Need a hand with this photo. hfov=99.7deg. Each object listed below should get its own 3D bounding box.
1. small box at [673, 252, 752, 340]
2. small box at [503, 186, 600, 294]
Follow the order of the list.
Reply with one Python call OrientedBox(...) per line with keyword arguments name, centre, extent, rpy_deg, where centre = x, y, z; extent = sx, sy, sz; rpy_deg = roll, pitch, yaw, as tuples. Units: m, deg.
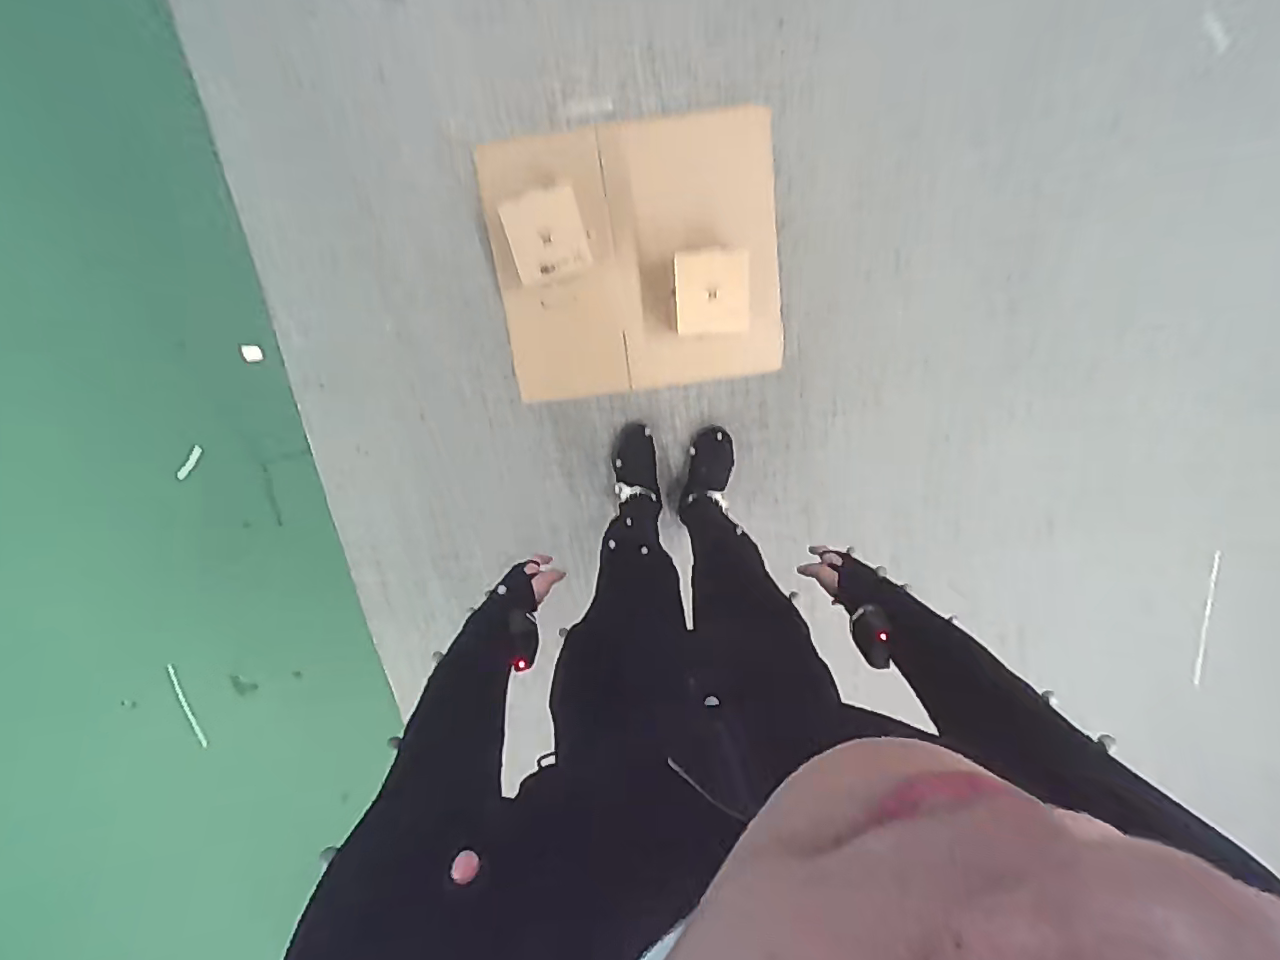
OrientedBox(name="small box", centre=(0.166, -0.426, 1.268), extent=(0.168, 0.176, 0.179), rpy_deg=(-4, 105, 1))
OrientedBox(name="small box", centre=(-0.194, -0.538, 1.237), extent=(0.168, 0.176, 0.179), rpy_deg=(-15, 105, 4))
